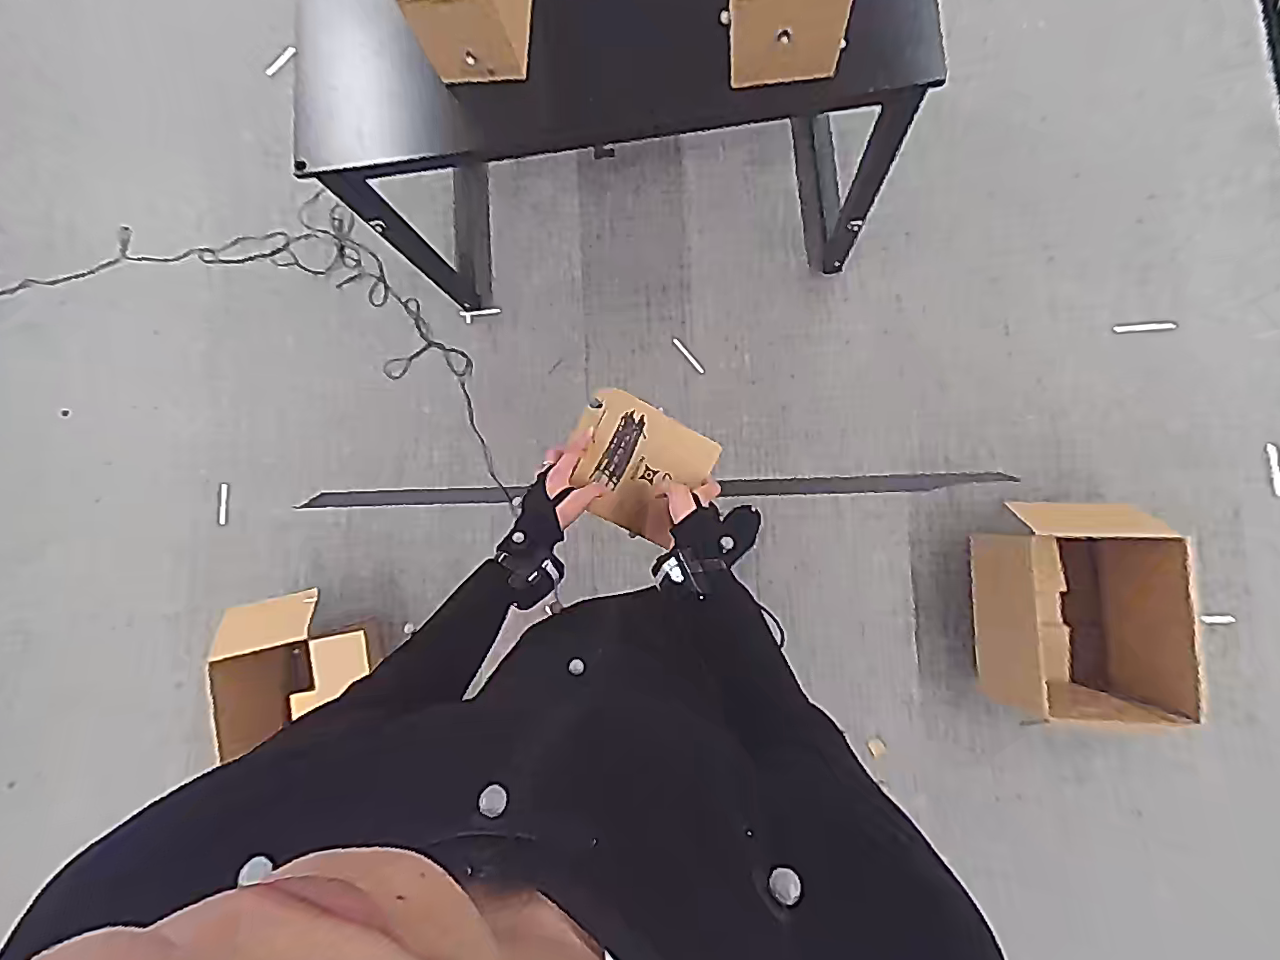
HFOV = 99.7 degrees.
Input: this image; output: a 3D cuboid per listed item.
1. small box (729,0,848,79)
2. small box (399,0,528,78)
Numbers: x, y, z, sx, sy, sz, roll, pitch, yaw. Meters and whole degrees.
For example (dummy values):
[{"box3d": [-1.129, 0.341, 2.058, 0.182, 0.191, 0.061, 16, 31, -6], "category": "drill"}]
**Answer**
[{"box3d": [0.233, -0.786, 0.860, 0.179, 0.176, 0.168, -1, 84, 9], "category": "small box"}, {"box3d": [-0.301, -0.849, 0.939, 0.168, 0.176, 0.179, 3, 86, 8], "category": "small box"}]
